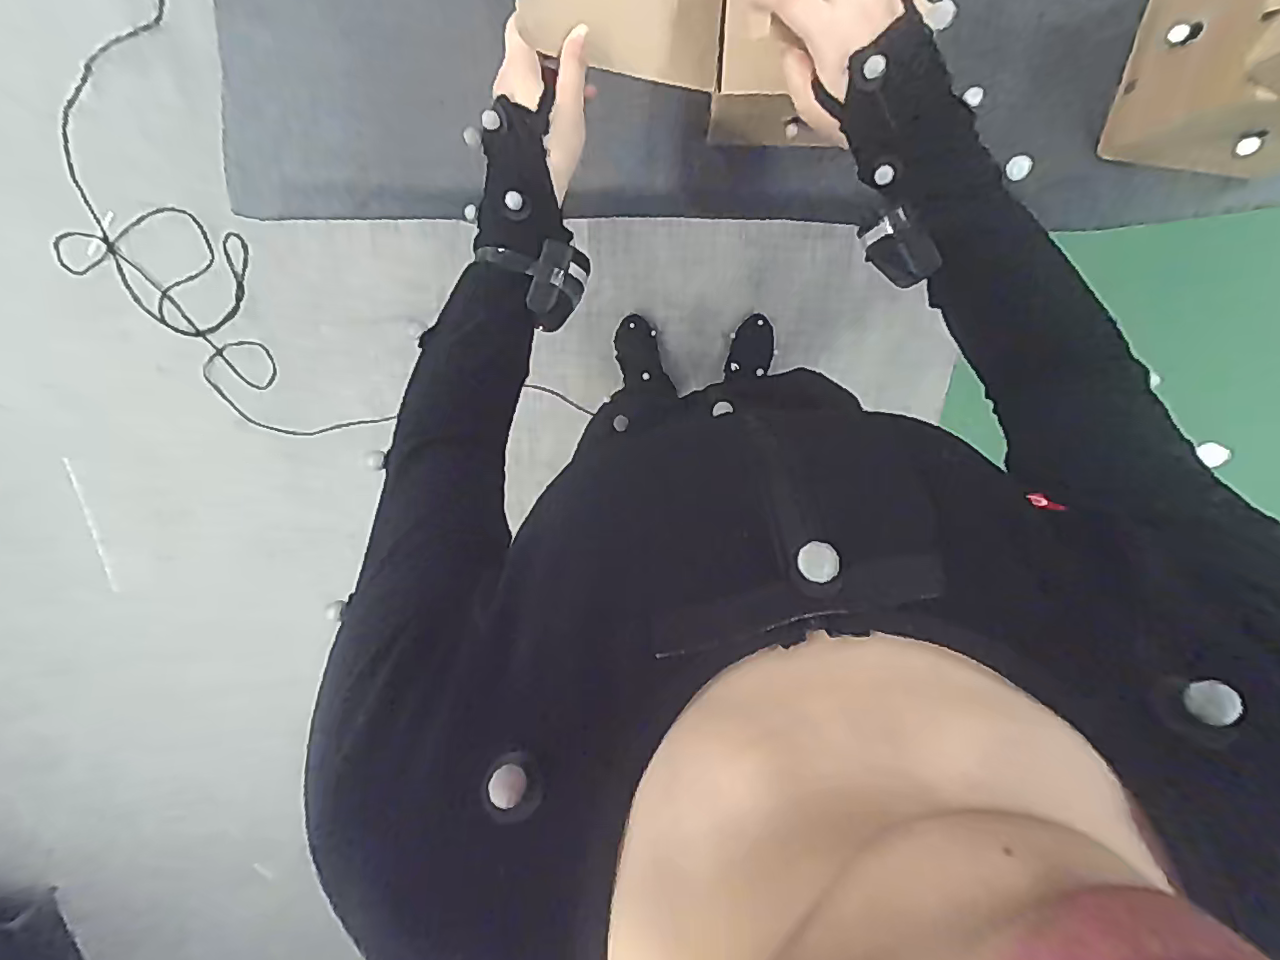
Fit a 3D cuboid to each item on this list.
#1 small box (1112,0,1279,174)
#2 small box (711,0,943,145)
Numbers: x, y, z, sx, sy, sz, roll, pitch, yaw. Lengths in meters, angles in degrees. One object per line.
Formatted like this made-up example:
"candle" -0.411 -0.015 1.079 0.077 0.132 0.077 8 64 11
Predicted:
"small box" 0.590 -0.391 0.483 0.179 0.176 0.168 9 107 2
"small box" 0.163 -0.428 0.503 0.179 0.176 0.168 4 109 5
